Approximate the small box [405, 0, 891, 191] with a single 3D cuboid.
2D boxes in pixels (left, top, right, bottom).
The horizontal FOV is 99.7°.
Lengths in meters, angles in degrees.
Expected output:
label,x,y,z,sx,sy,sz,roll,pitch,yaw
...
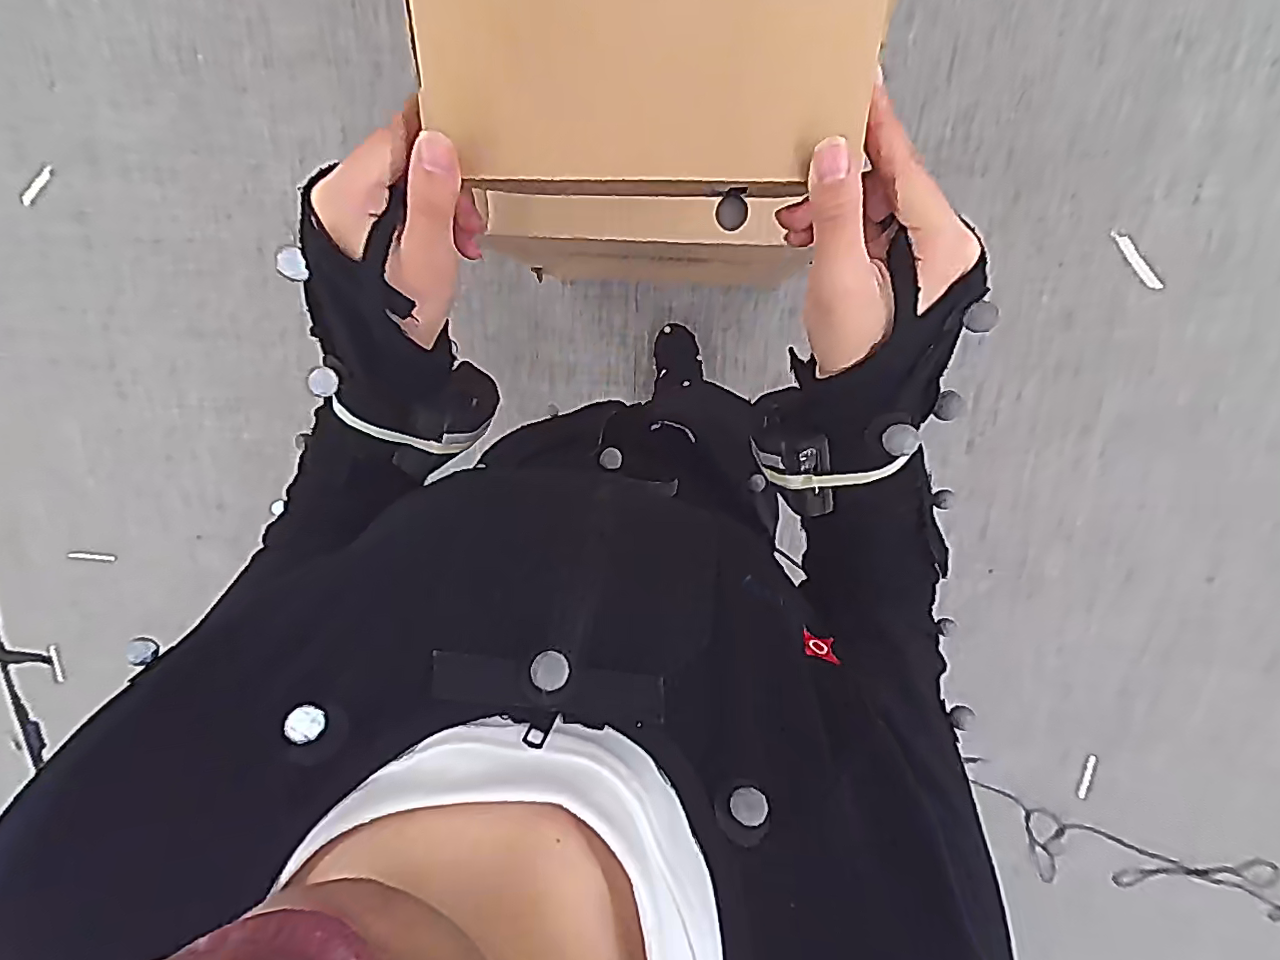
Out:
label,x,y,z,sx,sy,sz,roll,pitch,yaw
small box,0.006,-0.234,0.252,0.179,0.176,0.168,2,115,3
